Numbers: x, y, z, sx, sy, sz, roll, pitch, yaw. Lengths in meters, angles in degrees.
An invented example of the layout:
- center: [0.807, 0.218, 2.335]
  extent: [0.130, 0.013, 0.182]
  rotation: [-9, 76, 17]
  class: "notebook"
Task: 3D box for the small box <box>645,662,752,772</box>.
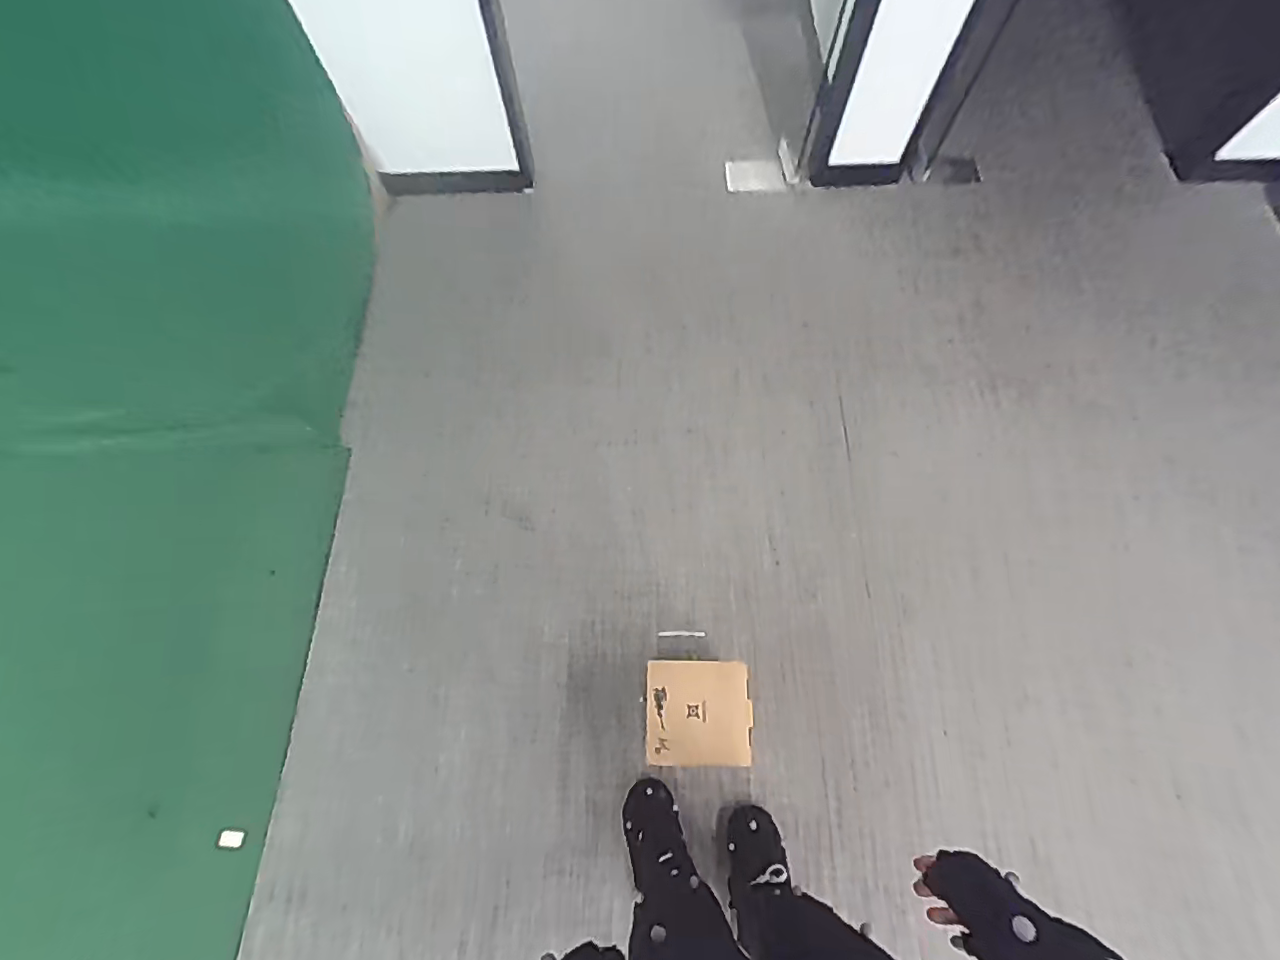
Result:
- center: [0.101, 0.427, 0.989]
  extent: [0.179, 0.176, 0.168]
  rotation: [2, 68, 2]
  class: "small box"
